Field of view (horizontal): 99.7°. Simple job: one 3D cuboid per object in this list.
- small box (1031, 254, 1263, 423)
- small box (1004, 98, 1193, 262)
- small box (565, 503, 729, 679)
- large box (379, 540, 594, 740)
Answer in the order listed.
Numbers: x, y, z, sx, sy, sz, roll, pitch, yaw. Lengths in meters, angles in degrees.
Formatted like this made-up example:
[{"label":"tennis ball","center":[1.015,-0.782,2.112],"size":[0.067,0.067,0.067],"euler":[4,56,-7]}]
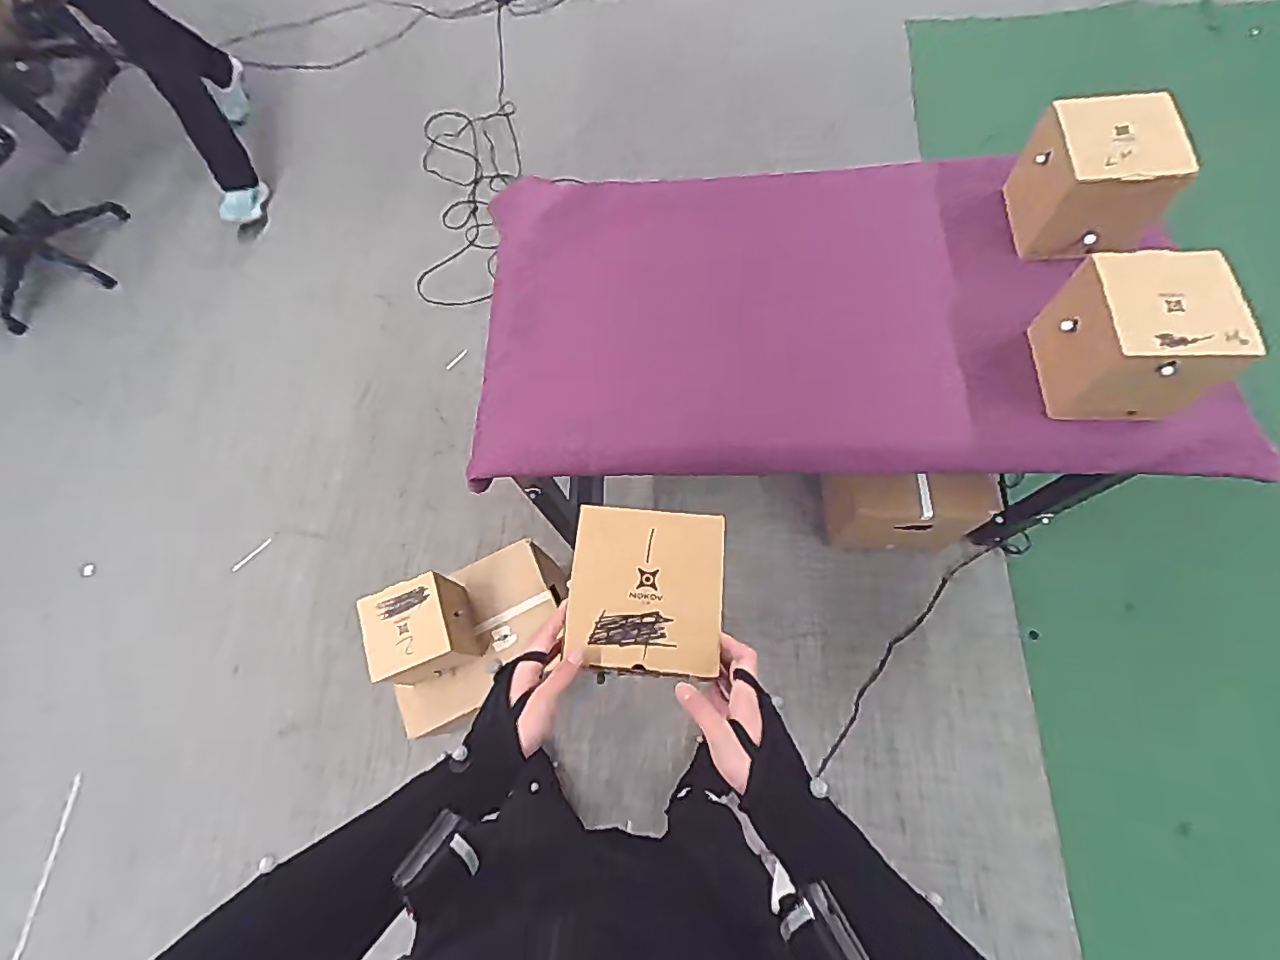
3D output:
[{"label":"small box","center":[0.714,-0.202,0.792],"size":[0.168,0.176,0.179],"euler":[1,66,8]},{"label":"small box","center":[0.745,-0.494,0.905],"size":[0.168,0.176,0.179],"euler":[0,69,9]},{"label":"small box","center":[0.014,0.141,0.653],"size":[0.168,0.176,0.179],"euler":[4,68,3]},{"label":"large box","center":[-0.366,0.412,1.376],"size":[0.408,0.320,0.320],"euler":[-26,69,-6]}]
